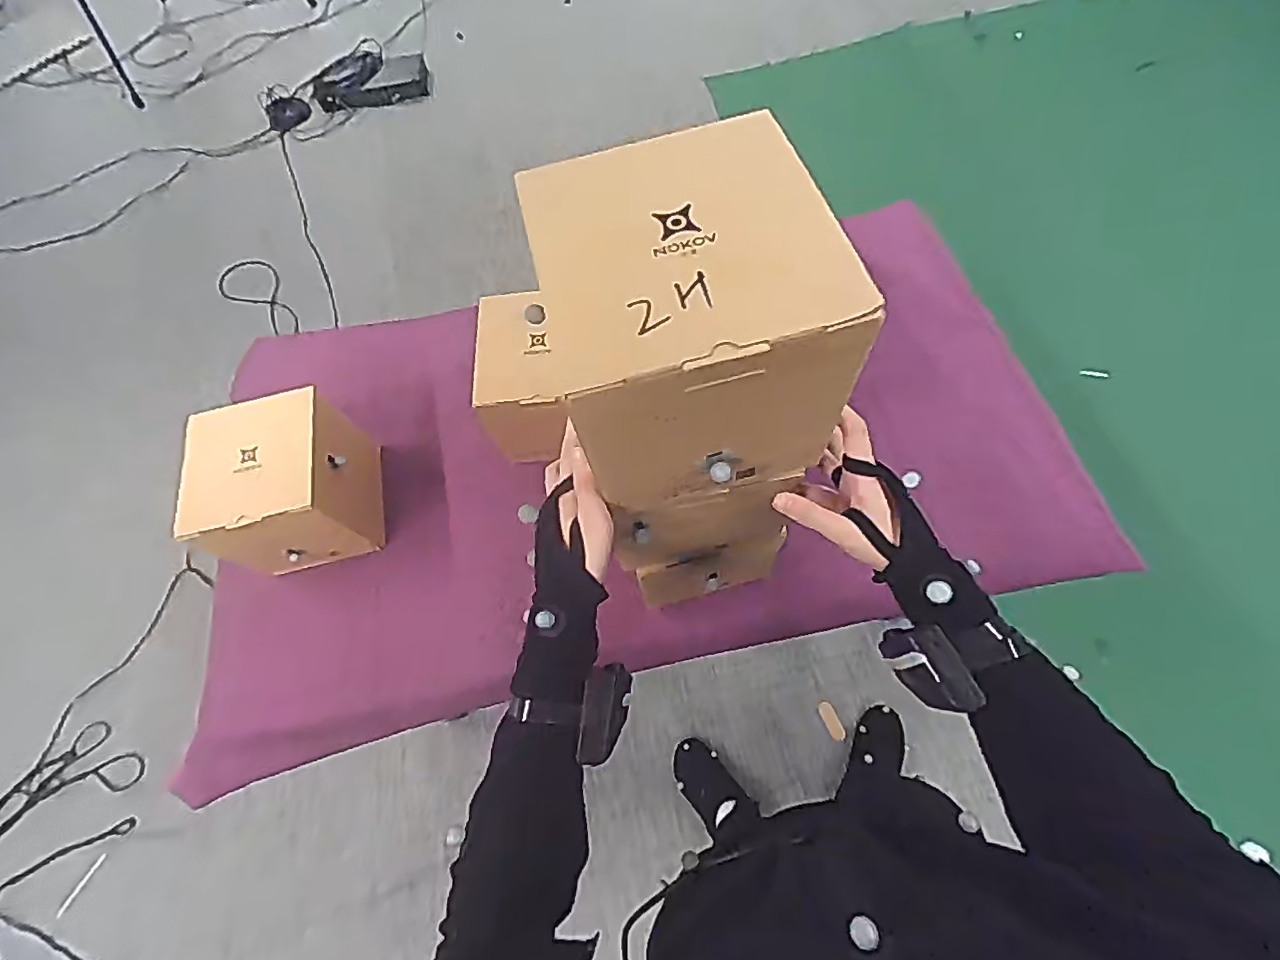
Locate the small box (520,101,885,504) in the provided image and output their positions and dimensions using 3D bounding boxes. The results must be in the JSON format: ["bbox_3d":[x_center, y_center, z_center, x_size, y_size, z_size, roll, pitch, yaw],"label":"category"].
[{"bbox_3d":[0.029,-0.107,0.368,0.168,0.176,0.179,-14,65,-1],"label":"small box"}]

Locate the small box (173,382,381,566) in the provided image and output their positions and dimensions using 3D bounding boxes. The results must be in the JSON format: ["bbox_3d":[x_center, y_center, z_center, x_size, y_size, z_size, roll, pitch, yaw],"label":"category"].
[{"bbox_3d":[-0.471,-0.001,0.733,0.168,0.176,0.179,-14,67,-1],"label":"small box"}]

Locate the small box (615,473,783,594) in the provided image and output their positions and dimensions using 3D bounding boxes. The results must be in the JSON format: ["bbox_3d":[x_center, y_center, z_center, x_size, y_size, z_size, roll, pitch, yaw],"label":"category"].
[{"bbox_3d":[0.060,0.032,0.665,0.168,0.176,0.179,-15,66,-2],"label":"small box"}]

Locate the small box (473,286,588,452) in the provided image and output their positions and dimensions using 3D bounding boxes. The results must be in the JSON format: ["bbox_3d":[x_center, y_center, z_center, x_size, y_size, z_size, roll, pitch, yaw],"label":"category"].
[{"bbox_3d":[-0.122,-0.149,0.764,0.168,0.176,0.179,-4,66,3],"label":"small box"}]
